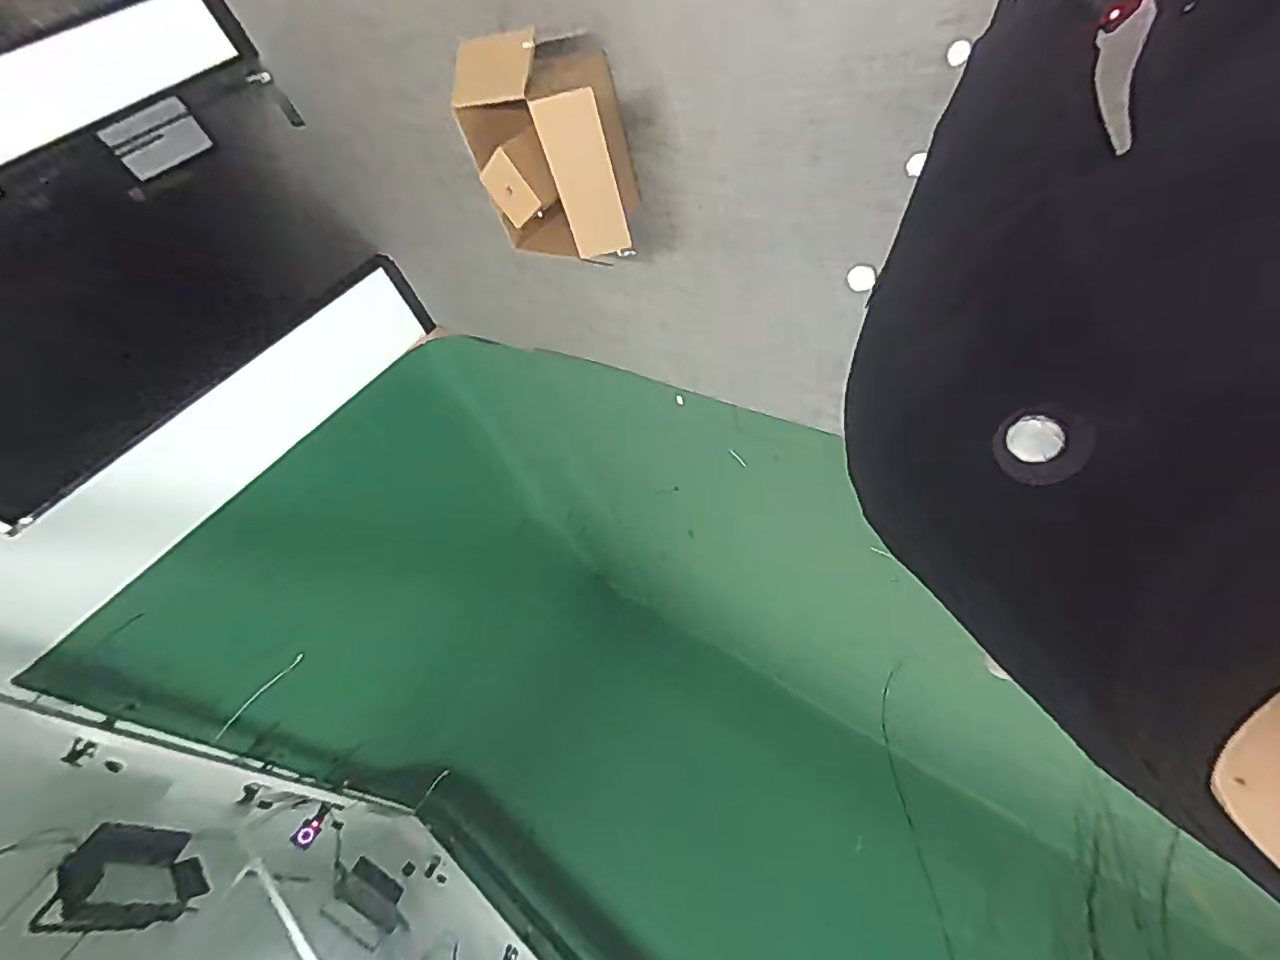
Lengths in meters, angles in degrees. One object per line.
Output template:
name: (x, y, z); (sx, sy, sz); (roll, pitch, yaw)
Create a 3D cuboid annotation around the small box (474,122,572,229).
small box: (-0.318, -0.835, 1.490); (0.179, 0.176, 0.168); (-1, 135, 55)
